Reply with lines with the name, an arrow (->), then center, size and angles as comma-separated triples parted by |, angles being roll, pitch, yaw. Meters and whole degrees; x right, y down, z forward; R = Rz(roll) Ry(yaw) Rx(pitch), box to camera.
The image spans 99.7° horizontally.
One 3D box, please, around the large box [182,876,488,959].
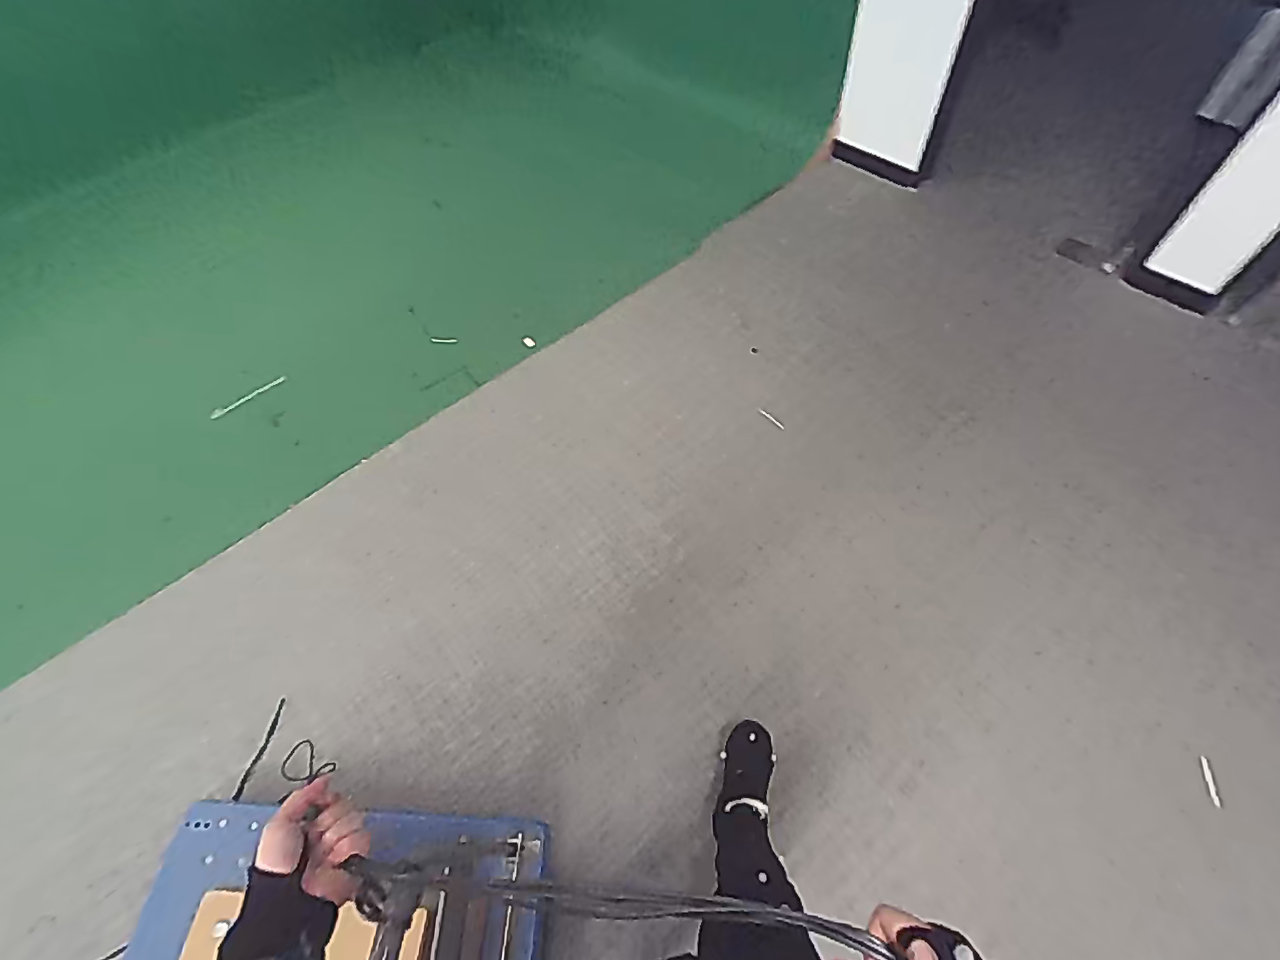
large box -> -0.528, 0.905, 0.942 | 0.408, 0.320, 0.320 | -1, 58, 7
